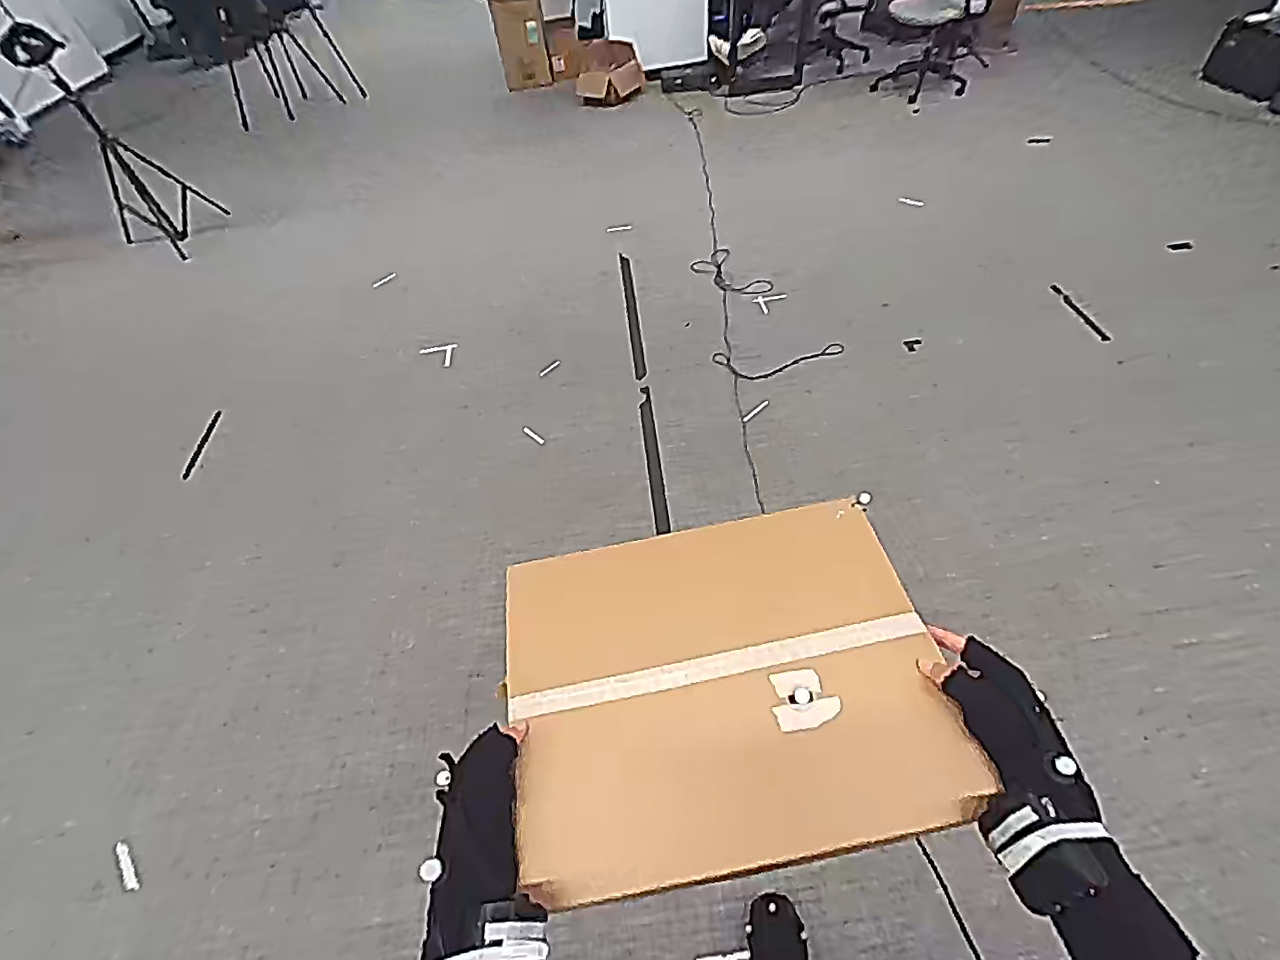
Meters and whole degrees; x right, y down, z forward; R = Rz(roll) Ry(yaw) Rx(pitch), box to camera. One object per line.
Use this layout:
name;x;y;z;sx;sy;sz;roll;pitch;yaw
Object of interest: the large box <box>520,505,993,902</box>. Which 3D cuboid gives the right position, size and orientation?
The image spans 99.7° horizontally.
large box;0.095;0.277;0.656;0.408;0.320;0.320;-11;53;-2
